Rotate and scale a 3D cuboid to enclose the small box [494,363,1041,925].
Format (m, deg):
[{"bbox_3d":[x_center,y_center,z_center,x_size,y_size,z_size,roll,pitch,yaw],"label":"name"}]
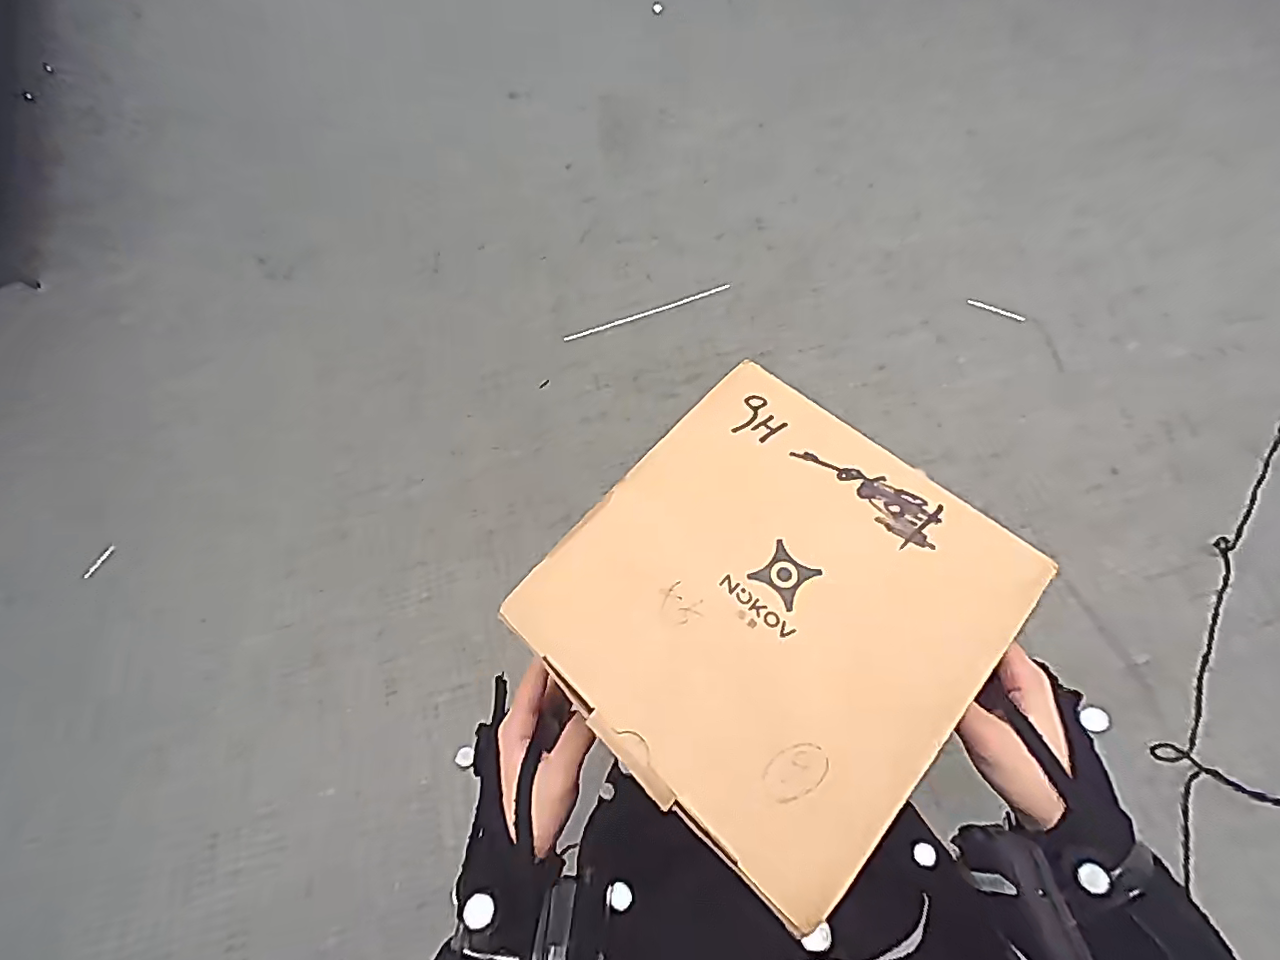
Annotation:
[{"bbox_3d":[0.059,0.079,0.302,0.168,0.176,0.179,40,76,20],"label":"small box"}]
